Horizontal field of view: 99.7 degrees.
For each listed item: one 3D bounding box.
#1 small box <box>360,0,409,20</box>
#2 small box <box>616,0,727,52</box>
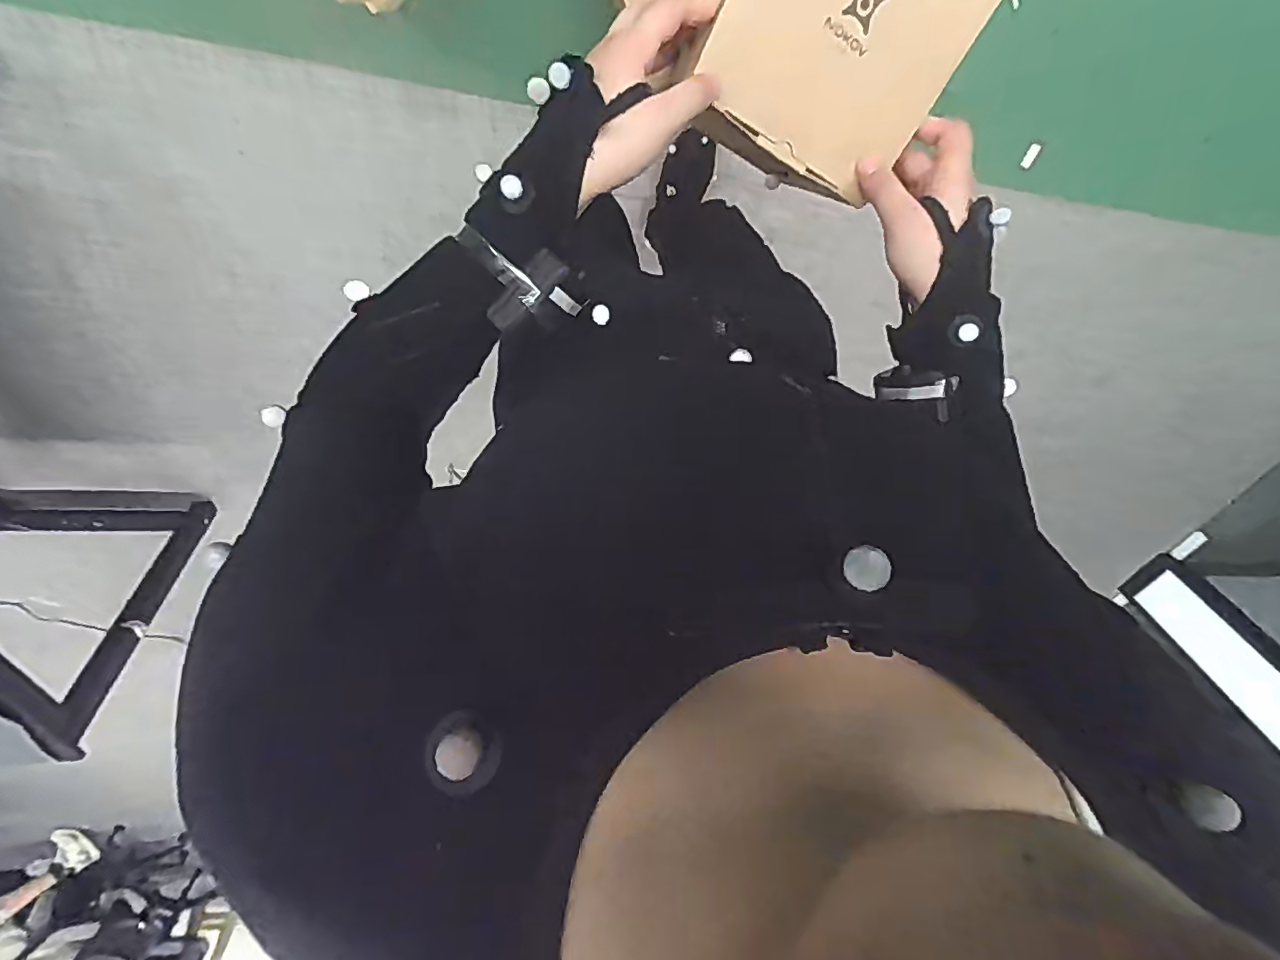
[{"bbox_3d":[-0.407,-0.867,0.834,0.168,0.176,0.179,-31,129,18],"label":"small box"},{"bbox_3d":[0.032,-0.867,0.907,0.168,0.176,0.179,-26,132,14],"label":"small box"}]
